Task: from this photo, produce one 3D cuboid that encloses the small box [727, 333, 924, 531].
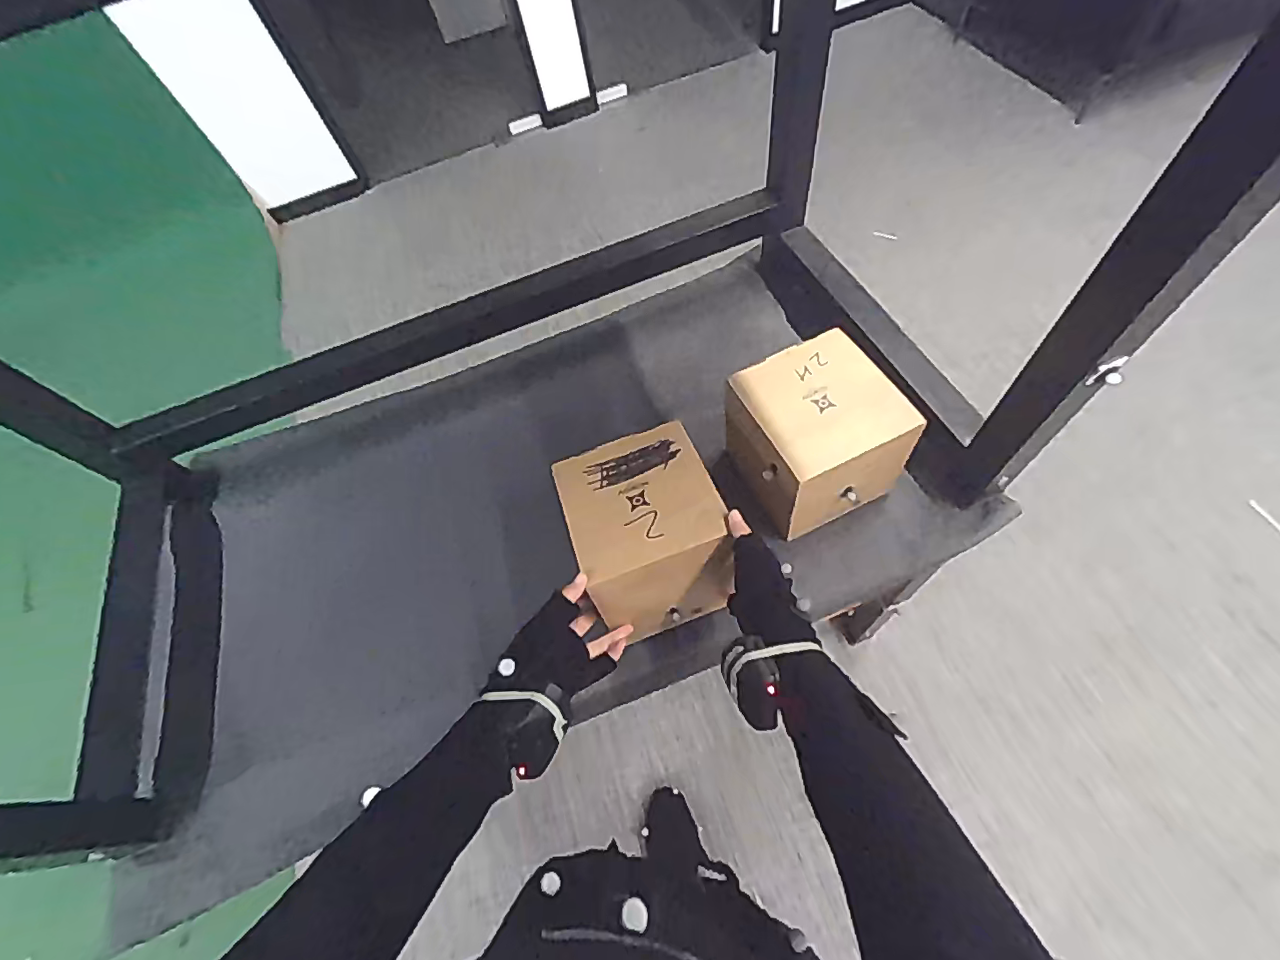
[{"bbox_3d":[0.229,-0.052,0.715,0.168,0.176,0.179,-25,59,-5],"label":"small box"}]
